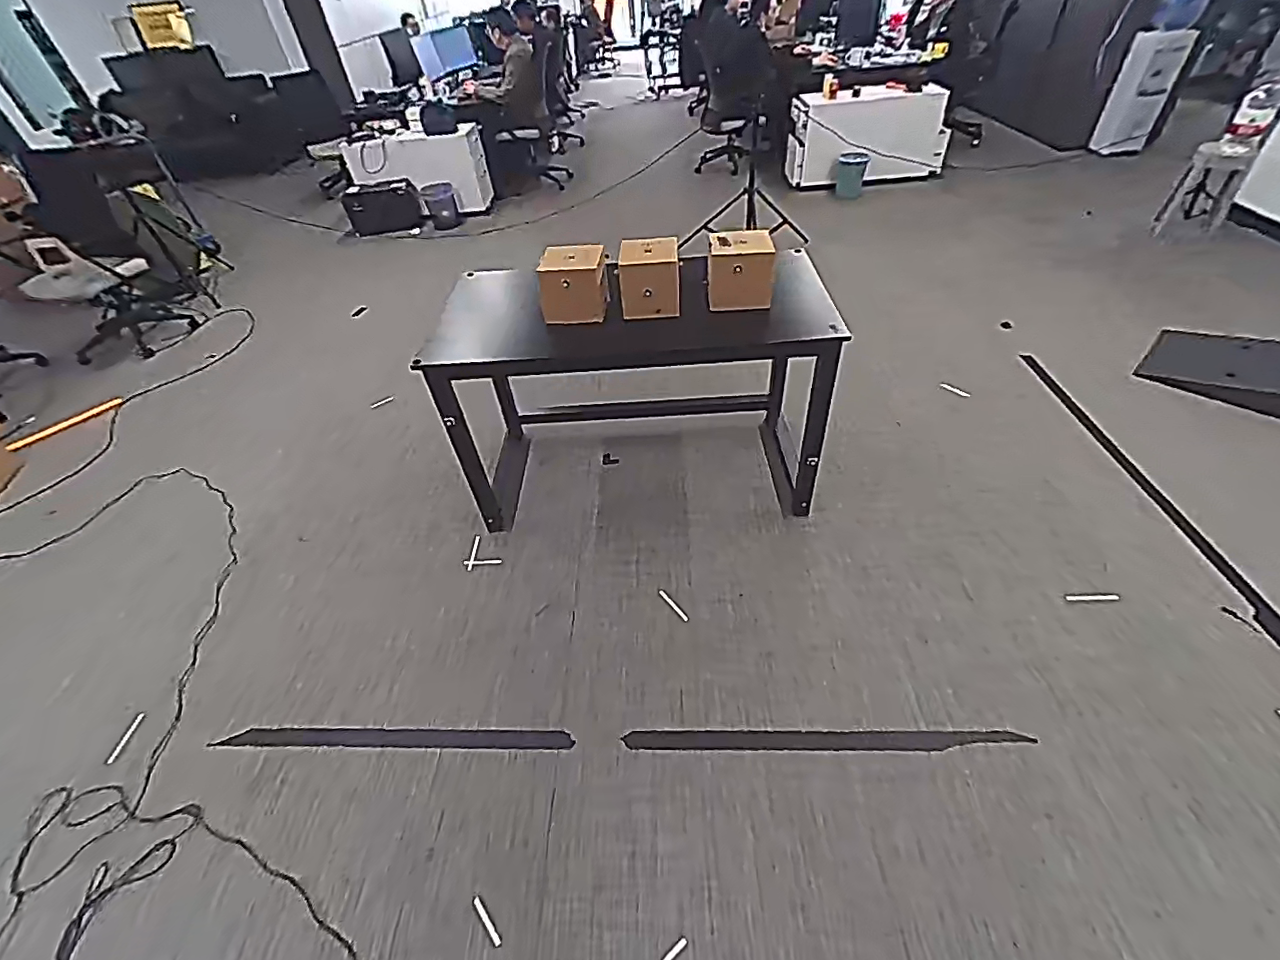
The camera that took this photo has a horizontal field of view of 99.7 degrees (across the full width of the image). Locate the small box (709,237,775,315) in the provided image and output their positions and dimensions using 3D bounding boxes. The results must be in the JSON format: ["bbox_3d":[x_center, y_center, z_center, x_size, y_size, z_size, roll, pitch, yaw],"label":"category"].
[{"bbox_3d":[0.297,-0.601,1.603,0.179,0.176,0.168,-1,44,5],"label":"small box"}]

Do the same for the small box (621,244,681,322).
[{"bbox_3d":[0.037,-0.582,1.613,0.168,0.176,0.179,-2,44,4],"label":"small box"}]
